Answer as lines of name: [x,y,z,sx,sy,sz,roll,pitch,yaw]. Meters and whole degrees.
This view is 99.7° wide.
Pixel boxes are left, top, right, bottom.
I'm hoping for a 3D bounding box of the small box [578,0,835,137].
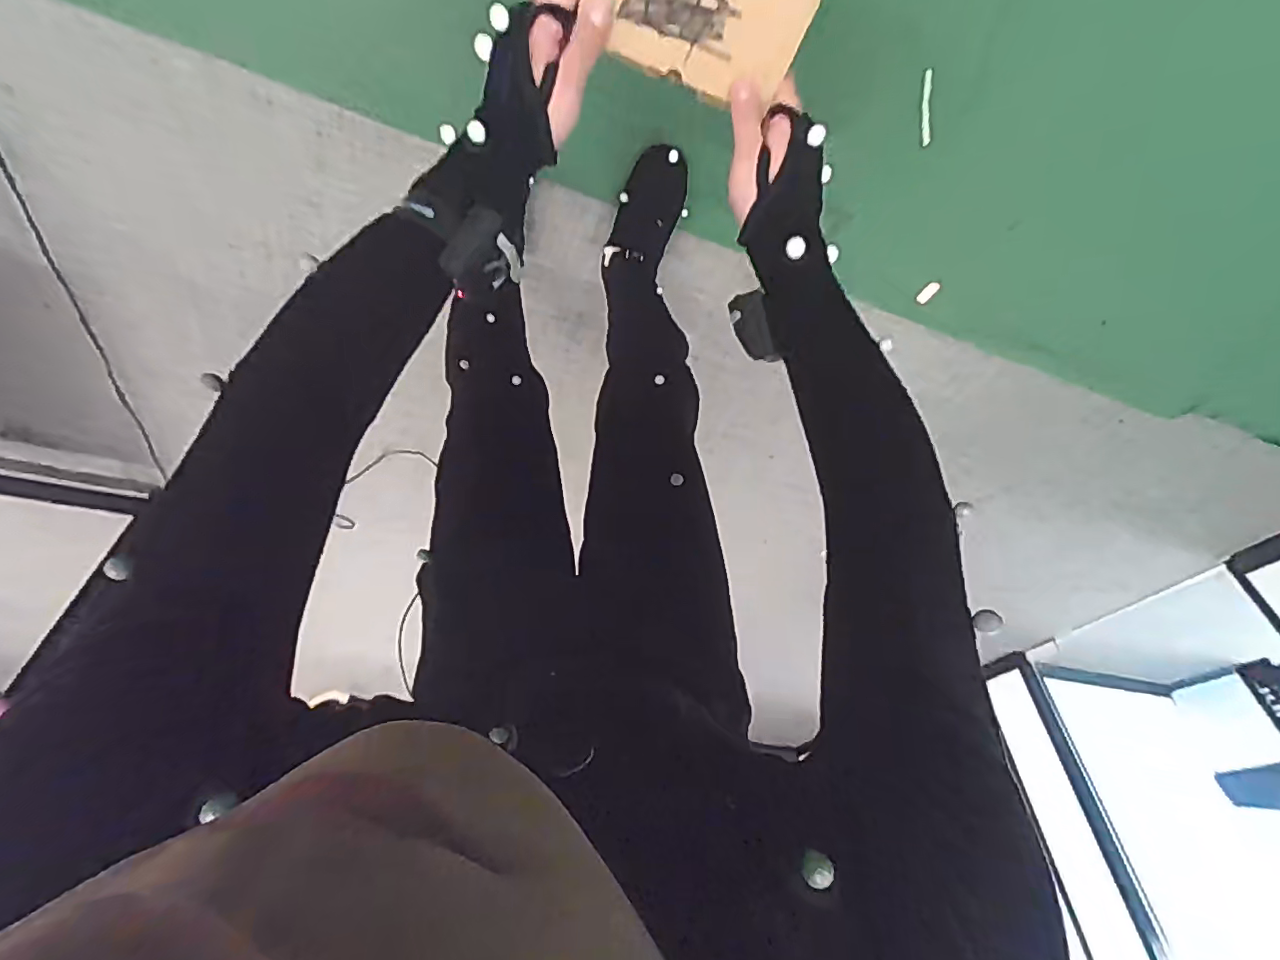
small box: [0.058,-0.415,0.416,0.168,0.176,0.179,12,138,-17]
